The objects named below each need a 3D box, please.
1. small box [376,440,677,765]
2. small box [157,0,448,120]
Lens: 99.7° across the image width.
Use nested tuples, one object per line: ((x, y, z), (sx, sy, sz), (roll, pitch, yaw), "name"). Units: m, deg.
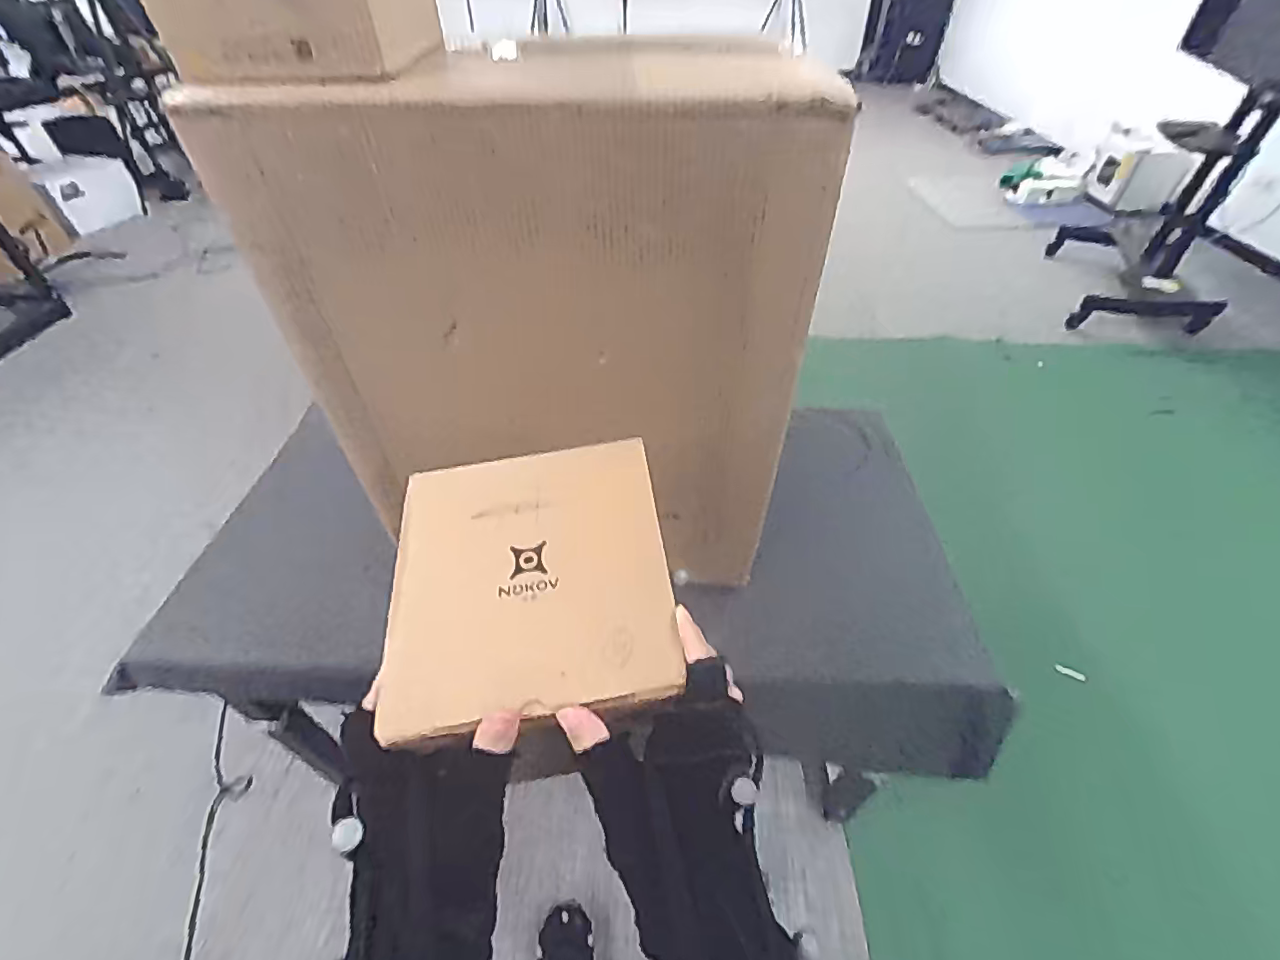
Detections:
((-0.066, 0.099, 0.402), (0.168, 0.176, 0.179), (-9, 52, -2), "small box")
((-0.275, -0.413, 0.447), (0.168, 0.176, 0.179), (-3, 46, 0), "small box")
